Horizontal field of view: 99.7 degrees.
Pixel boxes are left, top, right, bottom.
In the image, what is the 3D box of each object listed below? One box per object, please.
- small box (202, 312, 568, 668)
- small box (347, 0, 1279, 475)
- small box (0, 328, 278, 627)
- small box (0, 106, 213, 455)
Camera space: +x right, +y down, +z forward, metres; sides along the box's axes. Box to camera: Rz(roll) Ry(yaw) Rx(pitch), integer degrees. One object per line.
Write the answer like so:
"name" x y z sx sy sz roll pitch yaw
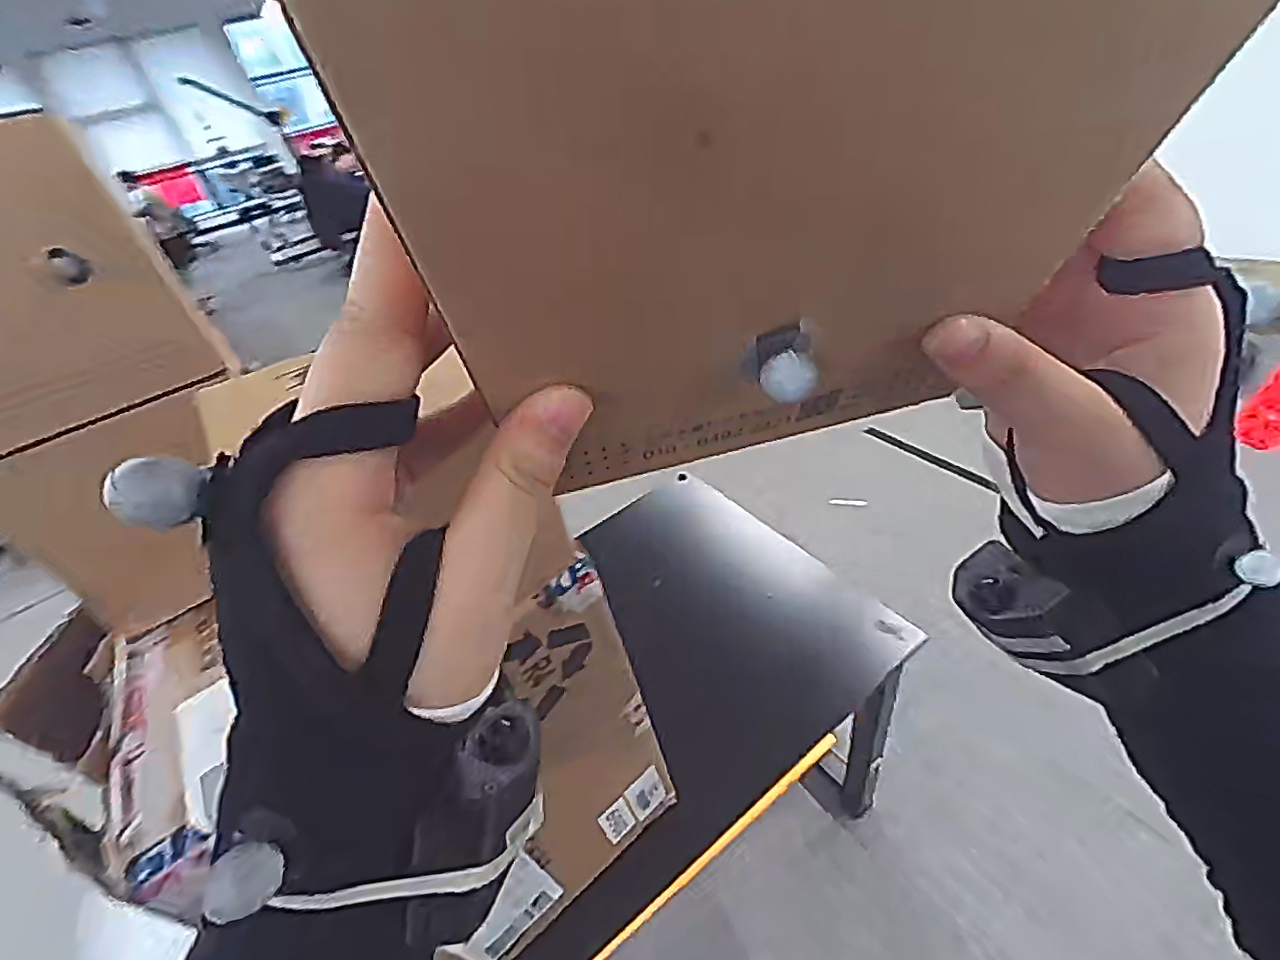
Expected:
"small box" -0.178 0.000 0.403 0.168 0.176 0.179 -33 45 -24
"small box" 0.020 -0.126 0.162 0.168 0.176 0.179 -14 65 -4
"small box" -0.409 -0.008 0.474 0.179 0.176 0.168 -33 42 -24
"small box" -0.436 -0.134 0.372 0.179 0.176 0.168 -35 41 -25
